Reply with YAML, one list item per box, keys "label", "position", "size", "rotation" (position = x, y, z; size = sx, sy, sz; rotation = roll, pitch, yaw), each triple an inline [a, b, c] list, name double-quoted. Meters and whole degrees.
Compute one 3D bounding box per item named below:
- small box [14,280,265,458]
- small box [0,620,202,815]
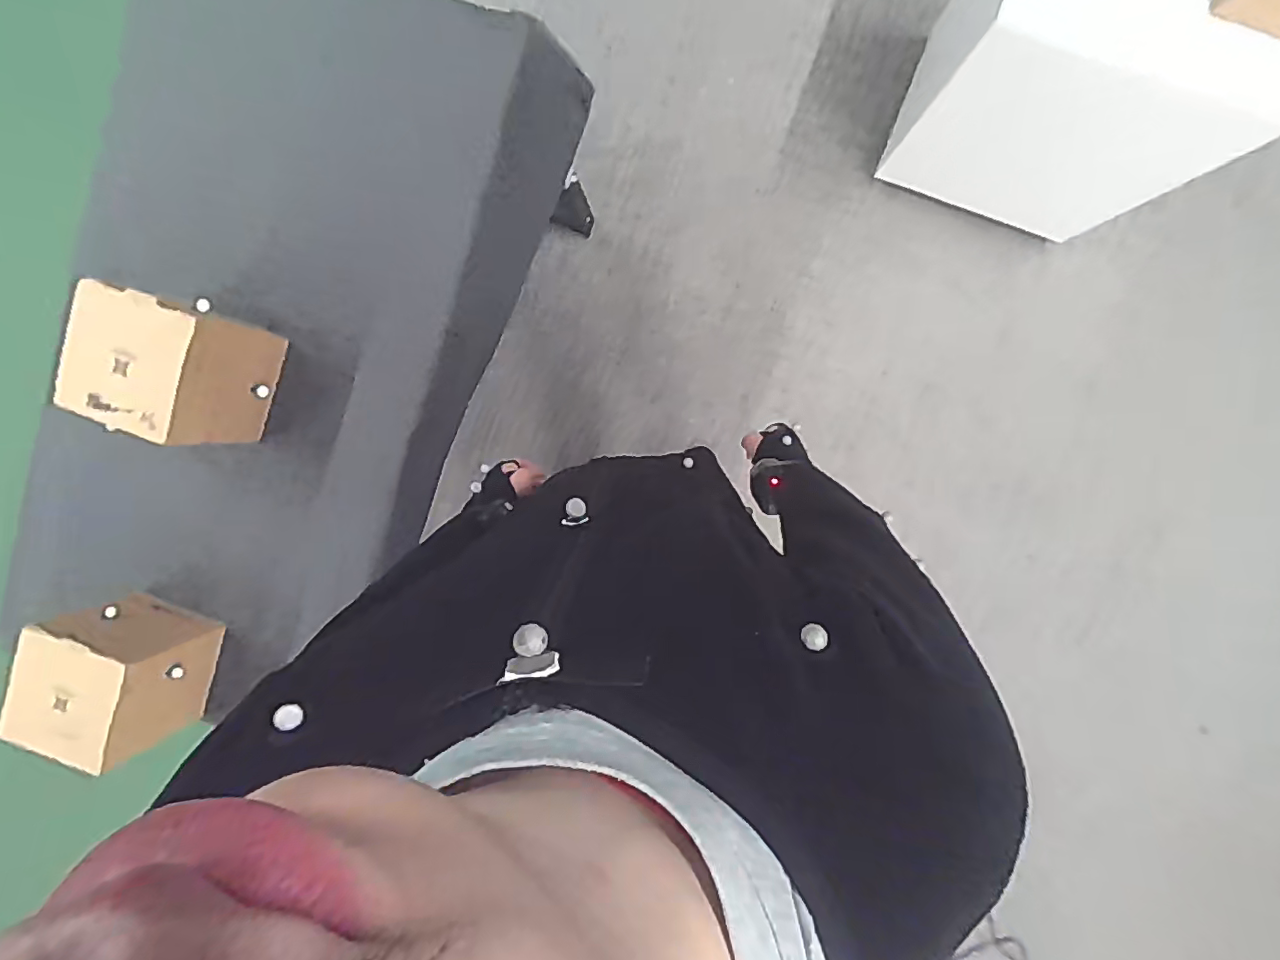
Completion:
- label: "small box"
  position: [-0.658, -0.139, 0.735]
  size: [0.168, 0.176, 0.179]
  rotation: [19, 94, 0]
- label: "small box"
  position: [-0.783, 0.324, 0.776]
  size: [0.168, 0.176, 0.179]
  rotation: [17, 96, 2]
